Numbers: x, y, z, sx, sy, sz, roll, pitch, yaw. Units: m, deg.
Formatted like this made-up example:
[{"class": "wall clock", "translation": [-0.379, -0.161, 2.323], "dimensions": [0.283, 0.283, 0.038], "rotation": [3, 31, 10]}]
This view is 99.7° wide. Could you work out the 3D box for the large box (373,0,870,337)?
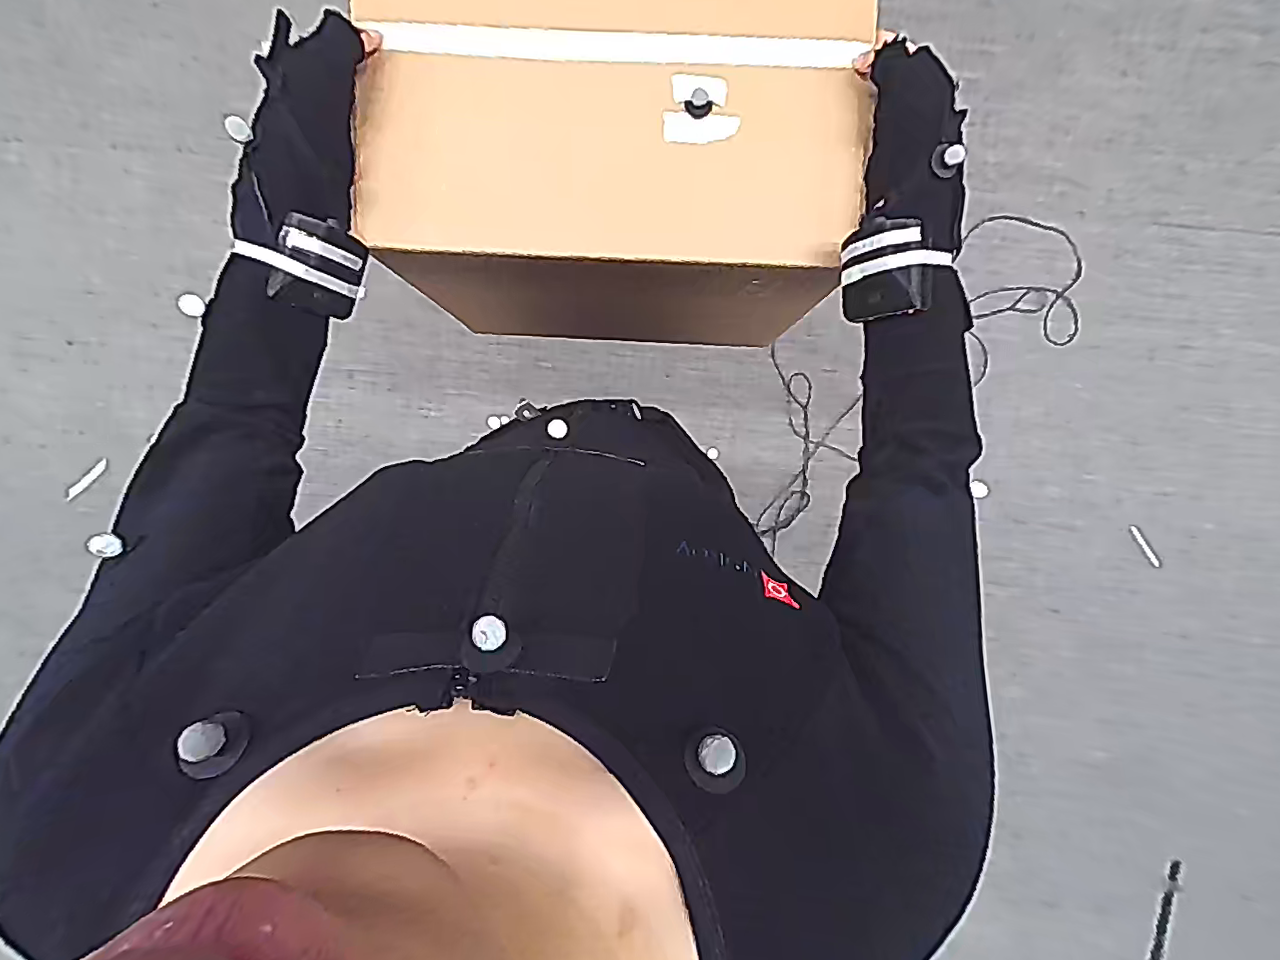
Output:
[{"class": "large box", "translation": [-0.018, -0.345, 0.584], "dimensions": [0.408, 0.320, 0.320], "rotation": [2, 93, -1]}]
